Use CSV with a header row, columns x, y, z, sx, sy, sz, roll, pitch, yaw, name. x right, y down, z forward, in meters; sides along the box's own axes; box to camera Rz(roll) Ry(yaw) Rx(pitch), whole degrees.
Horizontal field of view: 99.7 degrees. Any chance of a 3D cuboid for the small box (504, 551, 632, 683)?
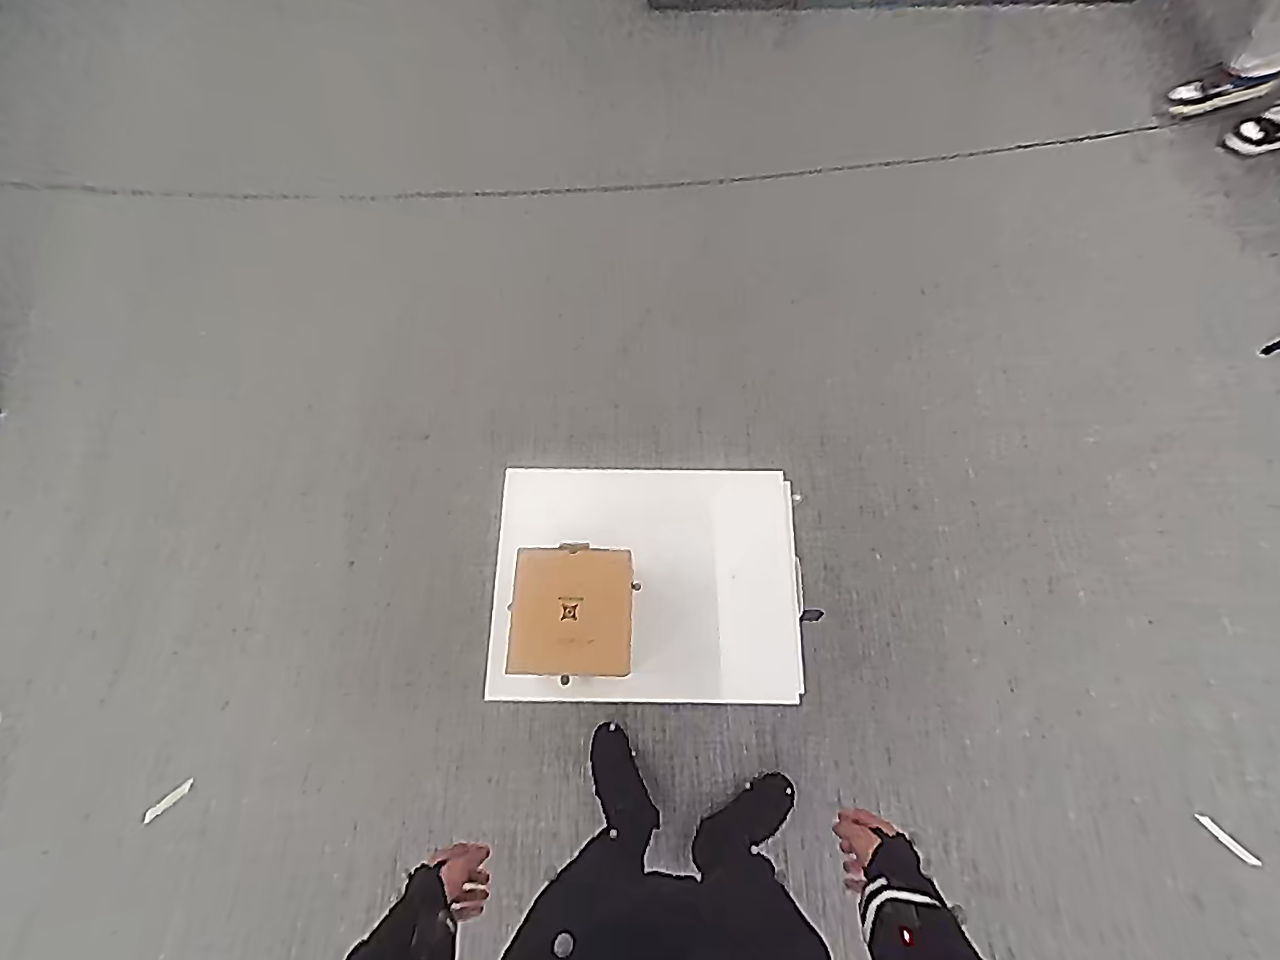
x,y,z,sx,sy,sz,roll,pitch,yaw,name
-0.099,0.214,0.826,0.168,0.176,0.179,2,71,1,small box
